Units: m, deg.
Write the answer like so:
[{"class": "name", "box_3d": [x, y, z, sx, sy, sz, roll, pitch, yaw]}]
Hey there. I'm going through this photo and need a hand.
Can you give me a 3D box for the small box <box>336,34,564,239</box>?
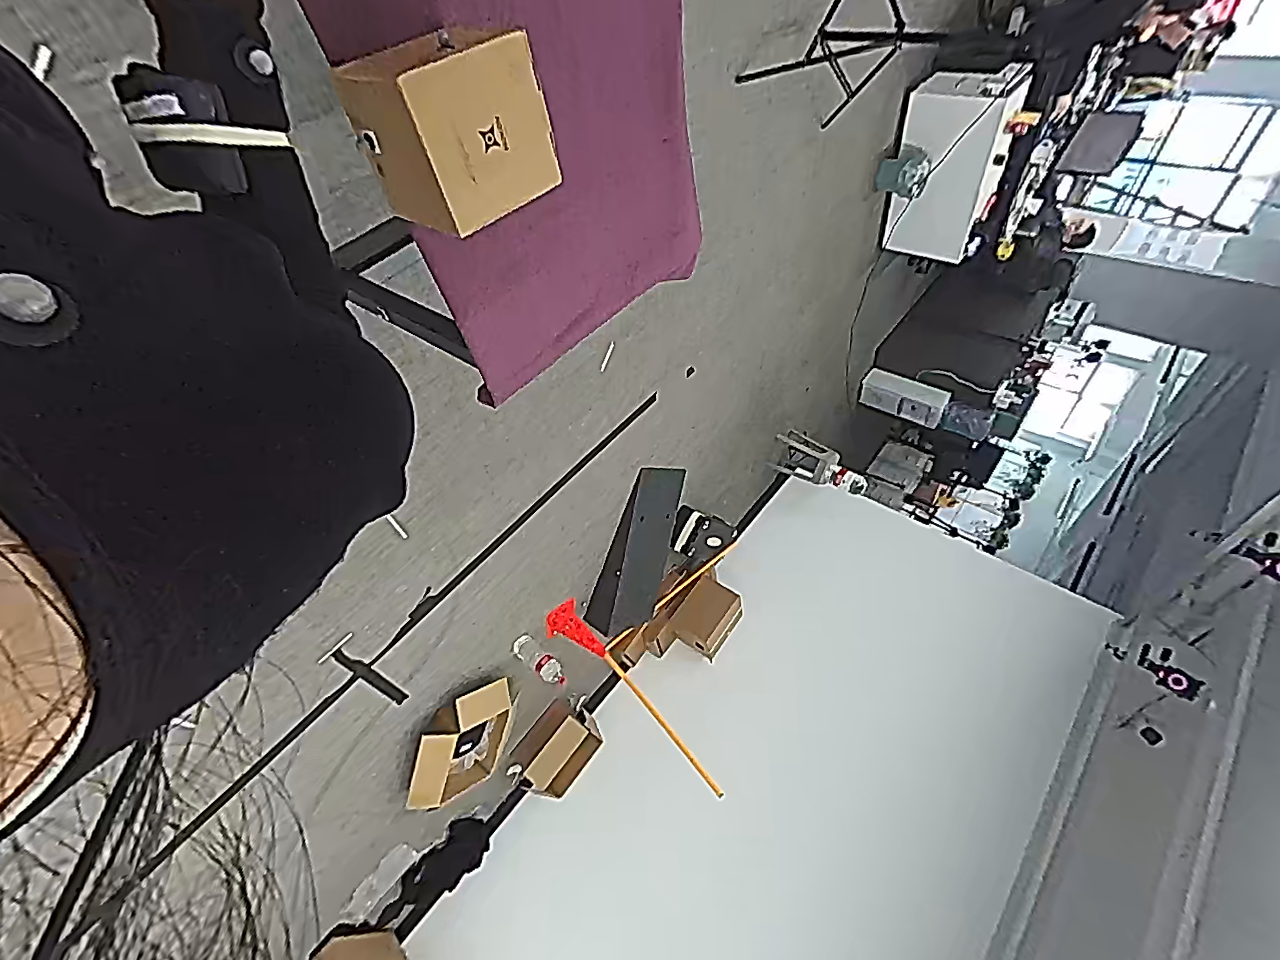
[{"class": "small box", "box_3d": [-0.229, -0.432, 0.673, 0.179, 0.176, 0.168, -44, 144, -24]}]
